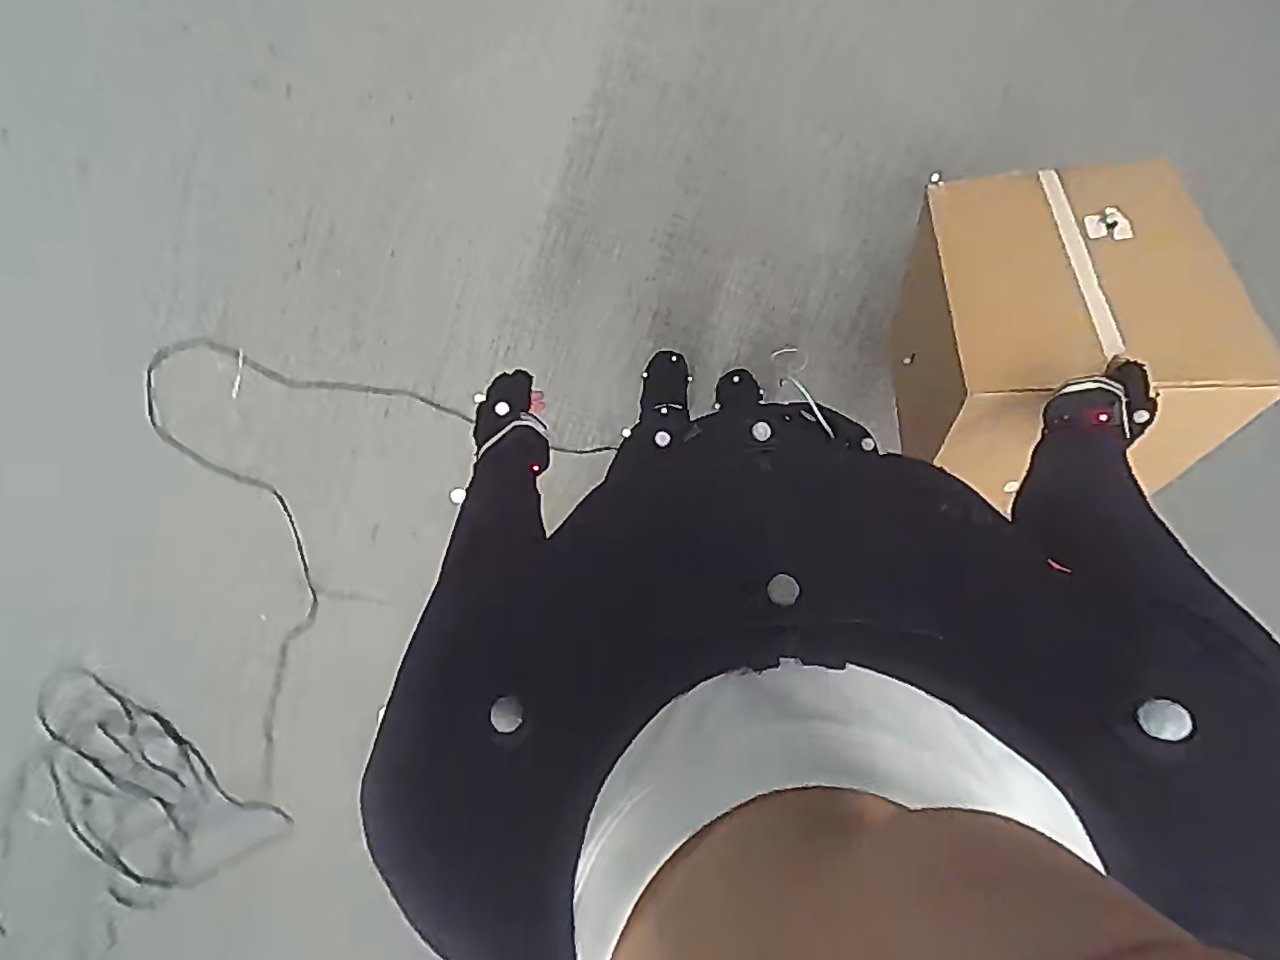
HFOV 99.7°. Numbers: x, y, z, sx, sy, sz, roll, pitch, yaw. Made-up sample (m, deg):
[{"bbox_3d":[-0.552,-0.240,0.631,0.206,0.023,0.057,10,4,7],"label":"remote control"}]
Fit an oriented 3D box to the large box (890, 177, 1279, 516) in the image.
[{"bbox_3d":[0.593,-0.186,0.831,0.320,0.320,0.408,2,60,13],"label":"large box"}]
